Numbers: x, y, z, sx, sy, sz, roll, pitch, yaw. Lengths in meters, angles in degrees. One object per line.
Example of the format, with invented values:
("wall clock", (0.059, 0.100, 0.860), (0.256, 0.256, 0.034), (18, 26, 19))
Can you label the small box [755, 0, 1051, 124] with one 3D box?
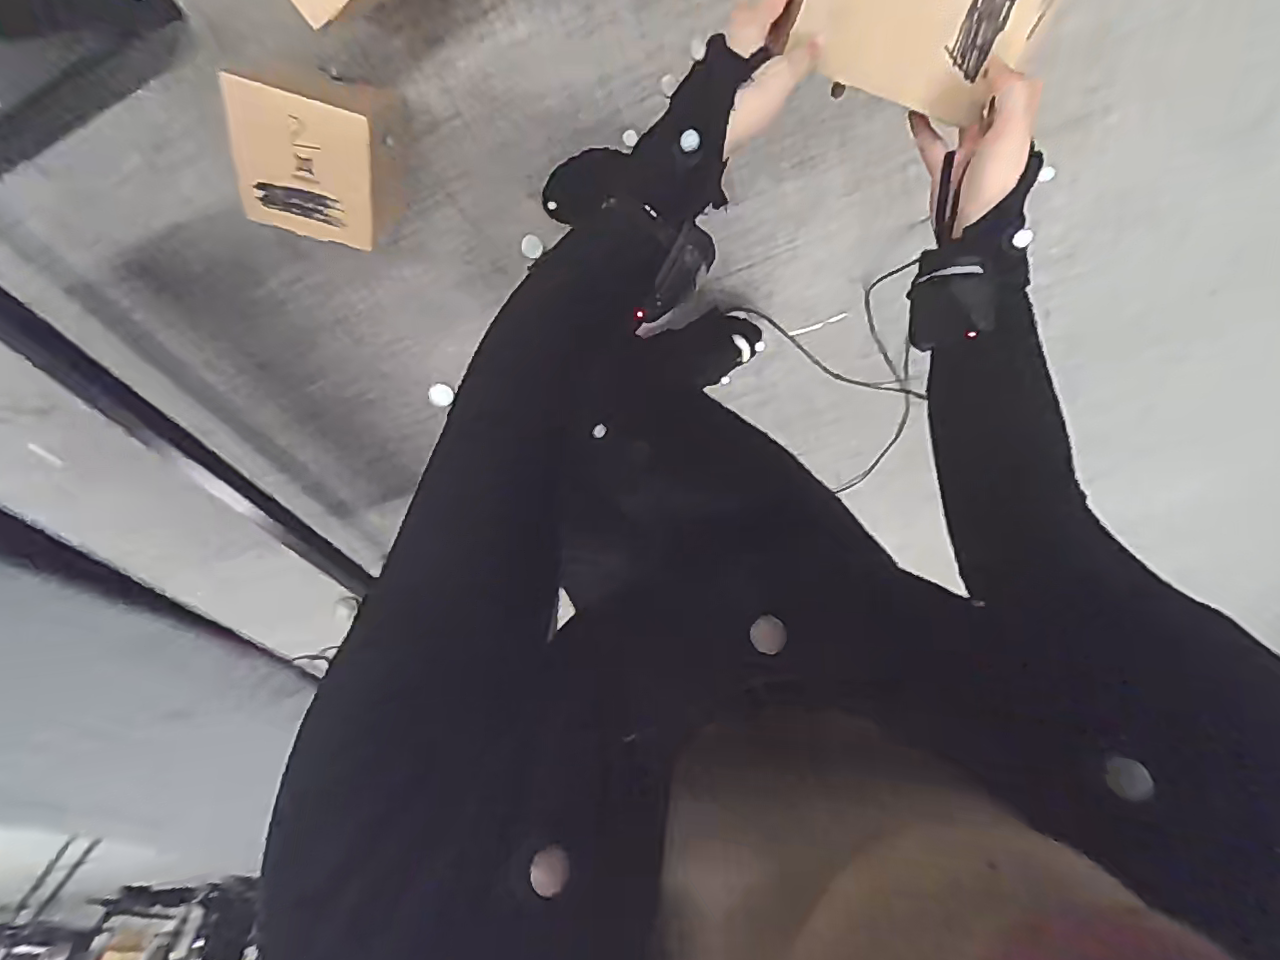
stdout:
("small box", (0.214, -0.420, 0.431), (0.179, 0.176, 0.168), (10, 133, -12))

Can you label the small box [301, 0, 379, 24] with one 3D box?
("small box", (-0.325, -0.644, 0.582), (0.179, 0.176, 0.168), (-23, 131, 19))
